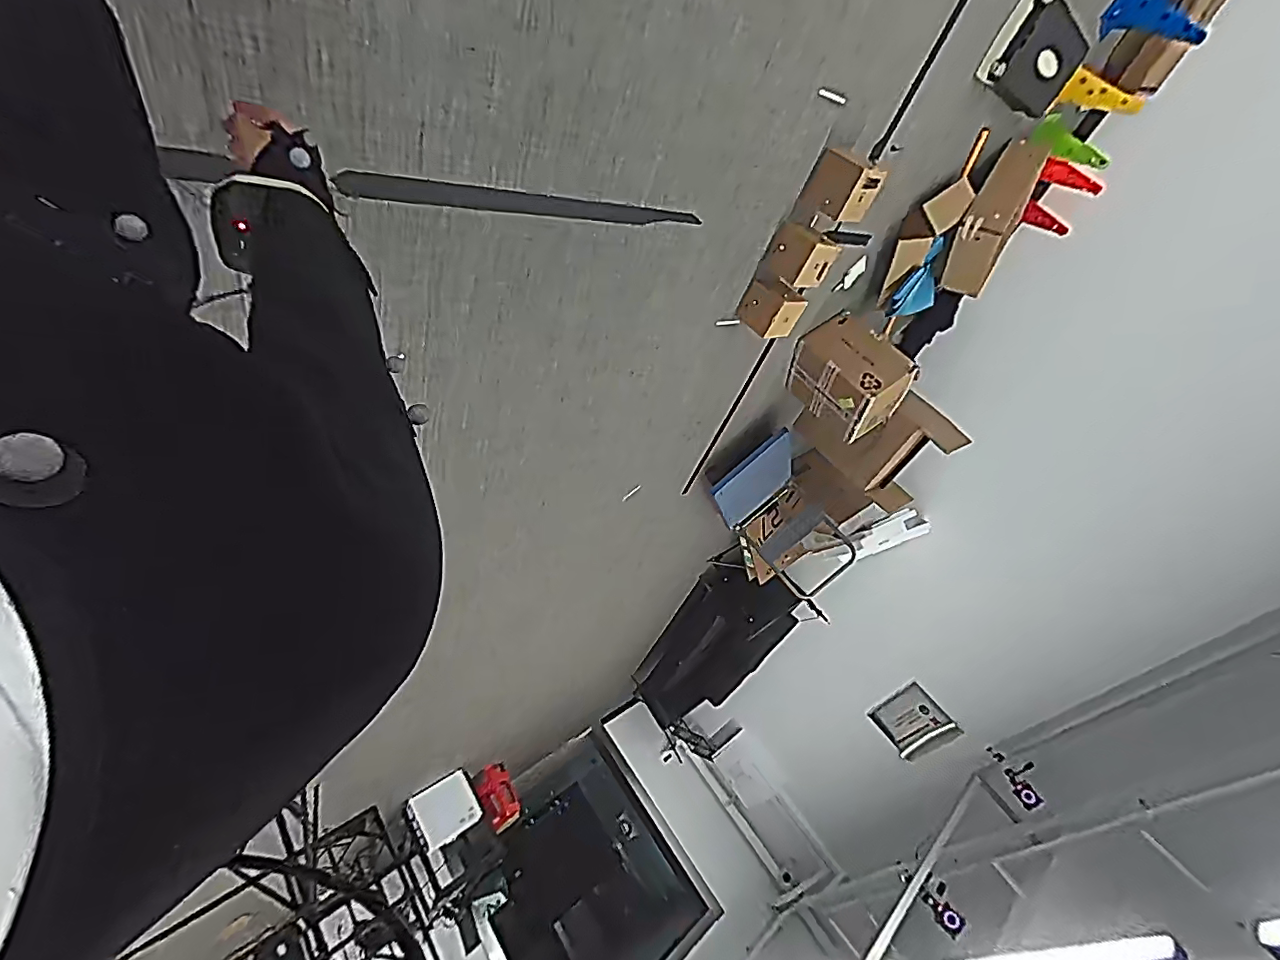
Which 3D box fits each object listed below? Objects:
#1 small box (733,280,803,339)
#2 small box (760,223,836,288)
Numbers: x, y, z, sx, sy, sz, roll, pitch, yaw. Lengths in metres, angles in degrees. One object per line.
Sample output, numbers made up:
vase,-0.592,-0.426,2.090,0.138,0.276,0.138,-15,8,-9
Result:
small box,0.512,-0.689,2.178,0.179,0.176,0.168,-18,147,-40
small box,0.588,-0.840,2.026,0.179,0.176,0.168,-16,146,-41
